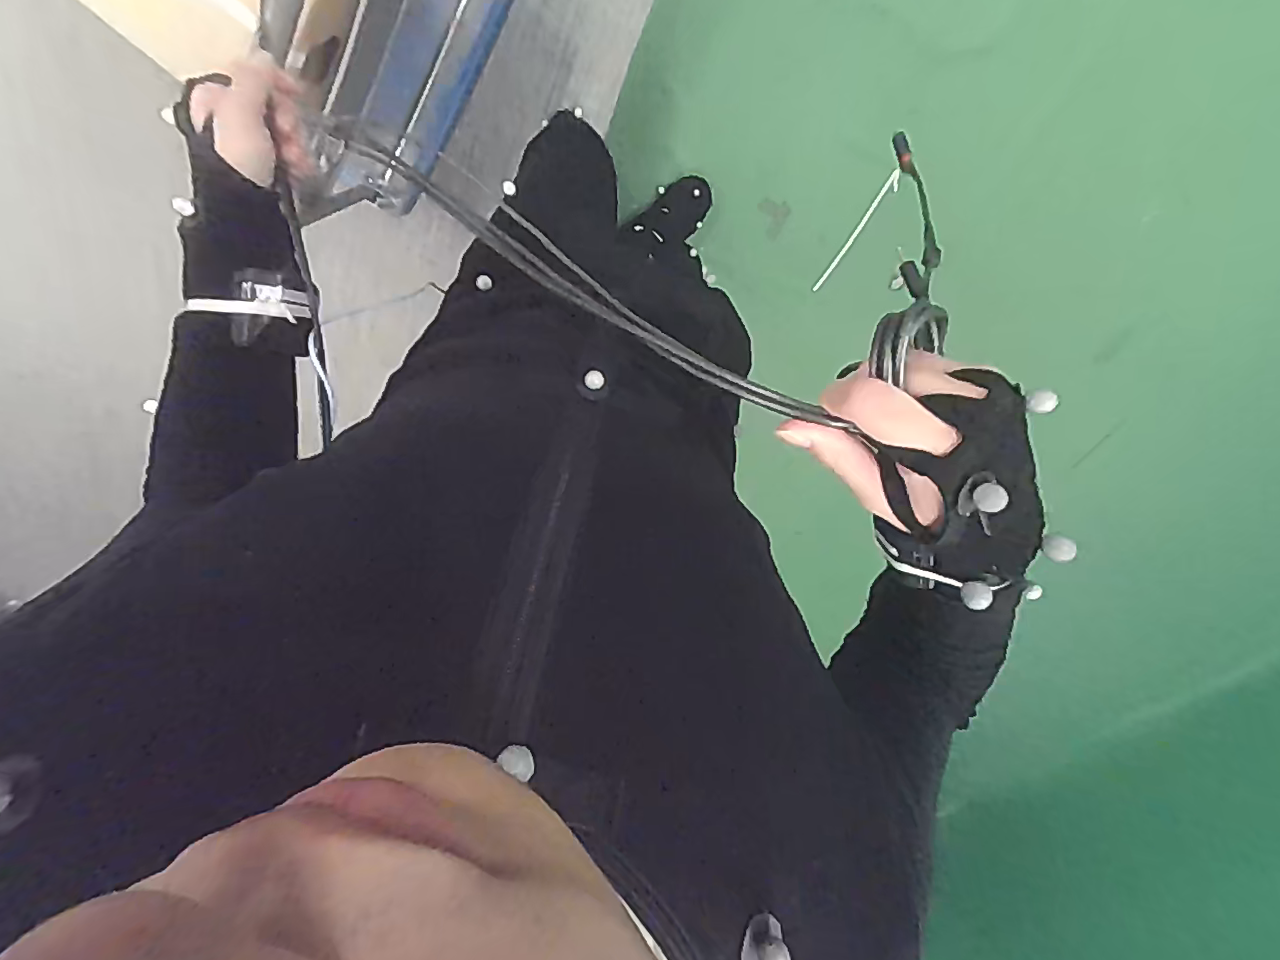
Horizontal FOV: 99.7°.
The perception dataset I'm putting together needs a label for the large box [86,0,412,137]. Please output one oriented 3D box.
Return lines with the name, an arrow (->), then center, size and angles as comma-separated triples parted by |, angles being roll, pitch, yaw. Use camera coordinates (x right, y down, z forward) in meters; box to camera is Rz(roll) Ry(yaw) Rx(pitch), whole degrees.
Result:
large box -> -0.654, -0.846, 0.871 | 0.408, 0.320, 0.320 | 38, 120, -20
